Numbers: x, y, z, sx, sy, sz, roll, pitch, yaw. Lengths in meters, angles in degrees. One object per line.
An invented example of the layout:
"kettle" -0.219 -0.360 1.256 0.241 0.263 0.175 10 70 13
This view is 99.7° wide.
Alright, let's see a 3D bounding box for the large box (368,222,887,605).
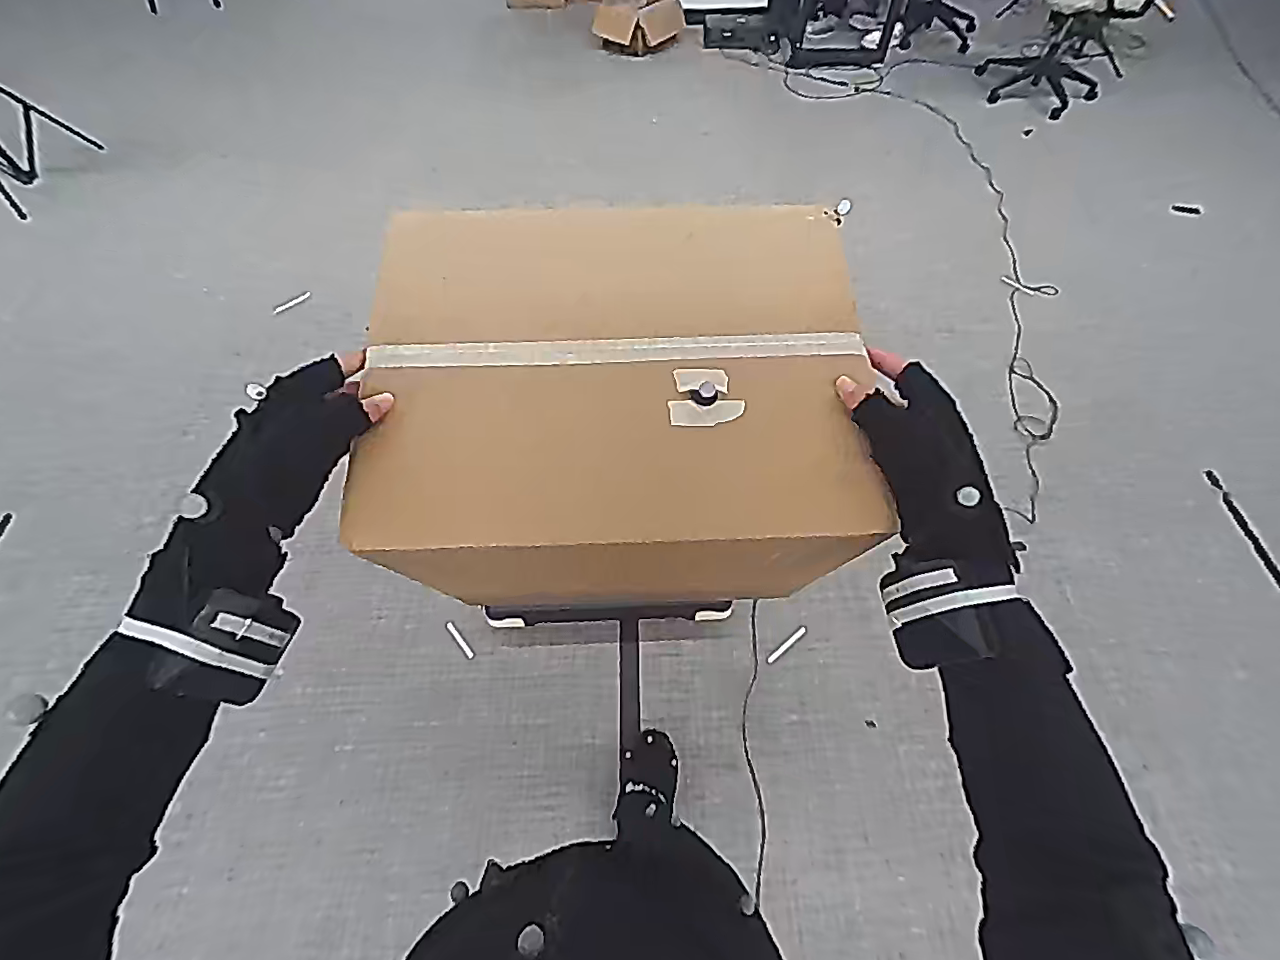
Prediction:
"large box" -0.018 -0.046 0.598 0.408 0.320 0.320 -2 70 -2
